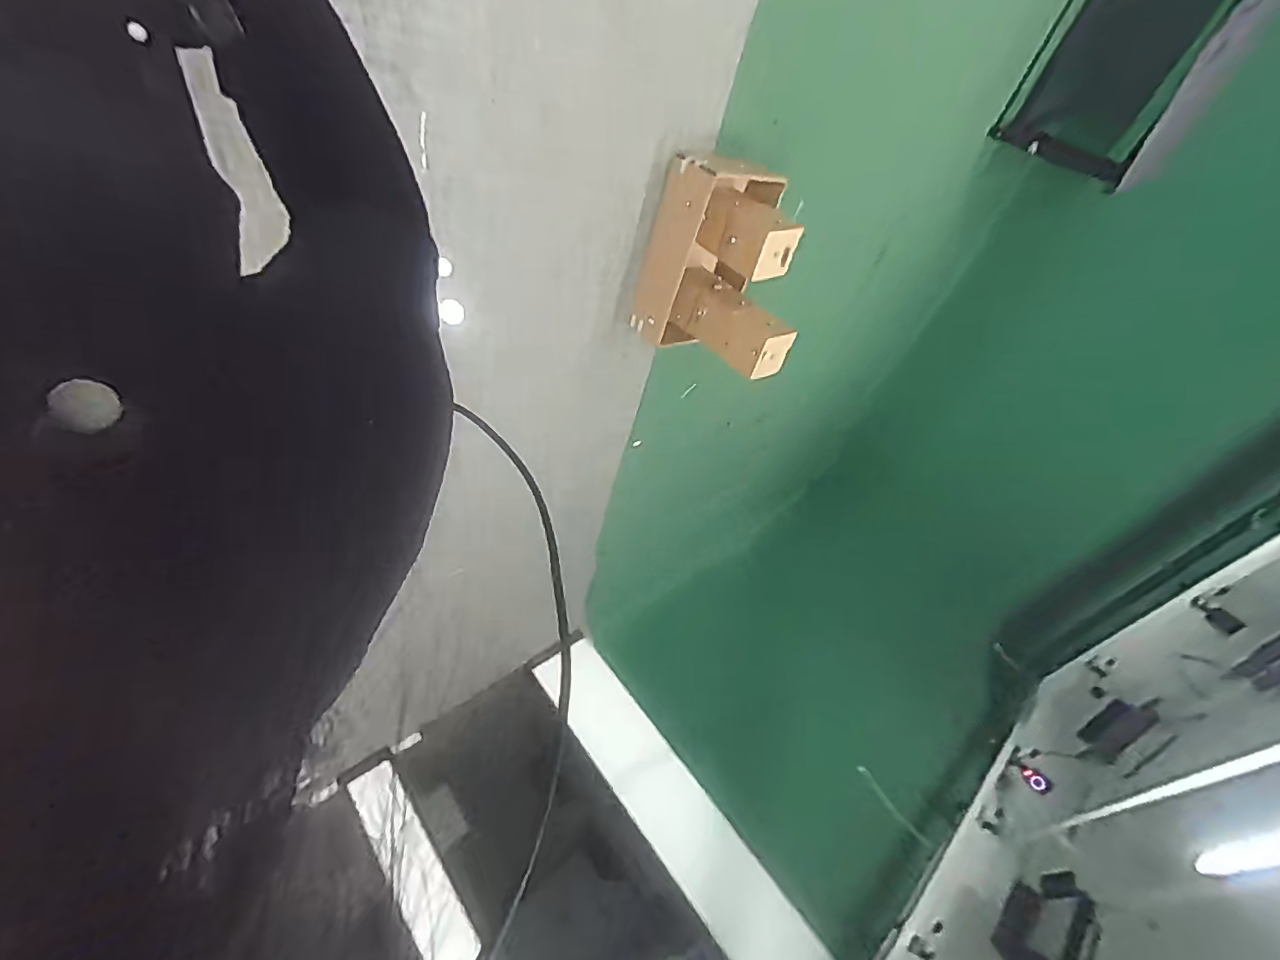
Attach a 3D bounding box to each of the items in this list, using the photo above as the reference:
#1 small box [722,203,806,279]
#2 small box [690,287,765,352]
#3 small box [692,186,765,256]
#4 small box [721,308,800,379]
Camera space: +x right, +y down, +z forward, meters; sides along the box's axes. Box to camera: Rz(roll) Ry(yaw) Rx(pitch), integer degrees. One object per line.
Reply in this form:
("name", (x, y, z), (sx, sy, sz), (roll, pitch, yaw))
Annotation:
("small box", (0.404, -0.794, 1.785), (0.179, 0.176, 0.168), (-24, 148, -31))
("small box", (0.316, -0.587, 1.962), (0.179, 0.176, 0.168), (-18, 143, -37))
("small box", (0.311, -0.900, 1.871), (0.179, 0.176, 0.168), (-23, 148, -33))
("small box", (0.416, -0.482, 1.886), (0.179, 0.176, 0.168), (-23, 145, -36))
